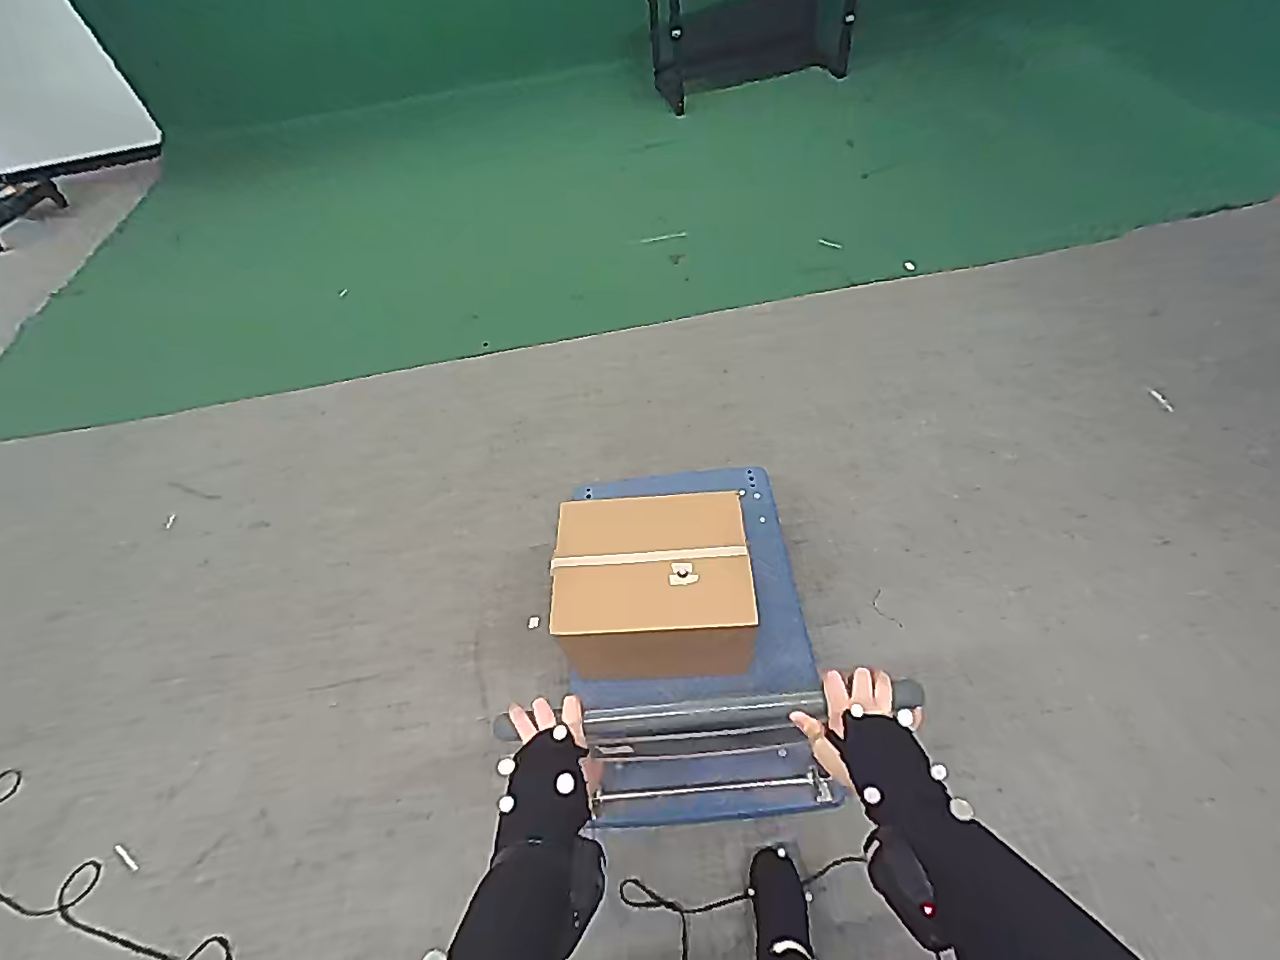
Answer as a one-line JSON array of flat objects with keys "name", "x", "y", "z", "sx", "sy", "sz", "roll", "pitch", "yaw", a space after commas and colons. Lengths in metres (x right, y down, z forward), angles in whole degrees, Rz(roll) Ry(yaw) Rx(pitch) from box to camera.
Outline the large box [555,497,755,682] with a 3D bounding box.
[{"name": "large box", "x": 0.035, "y": 0.264, "z": 1.266, "sx": 0.408, "sy": 0.320, "sz": 0.320, "roll": -4, "pitch": 53, "yaw": 3}]
